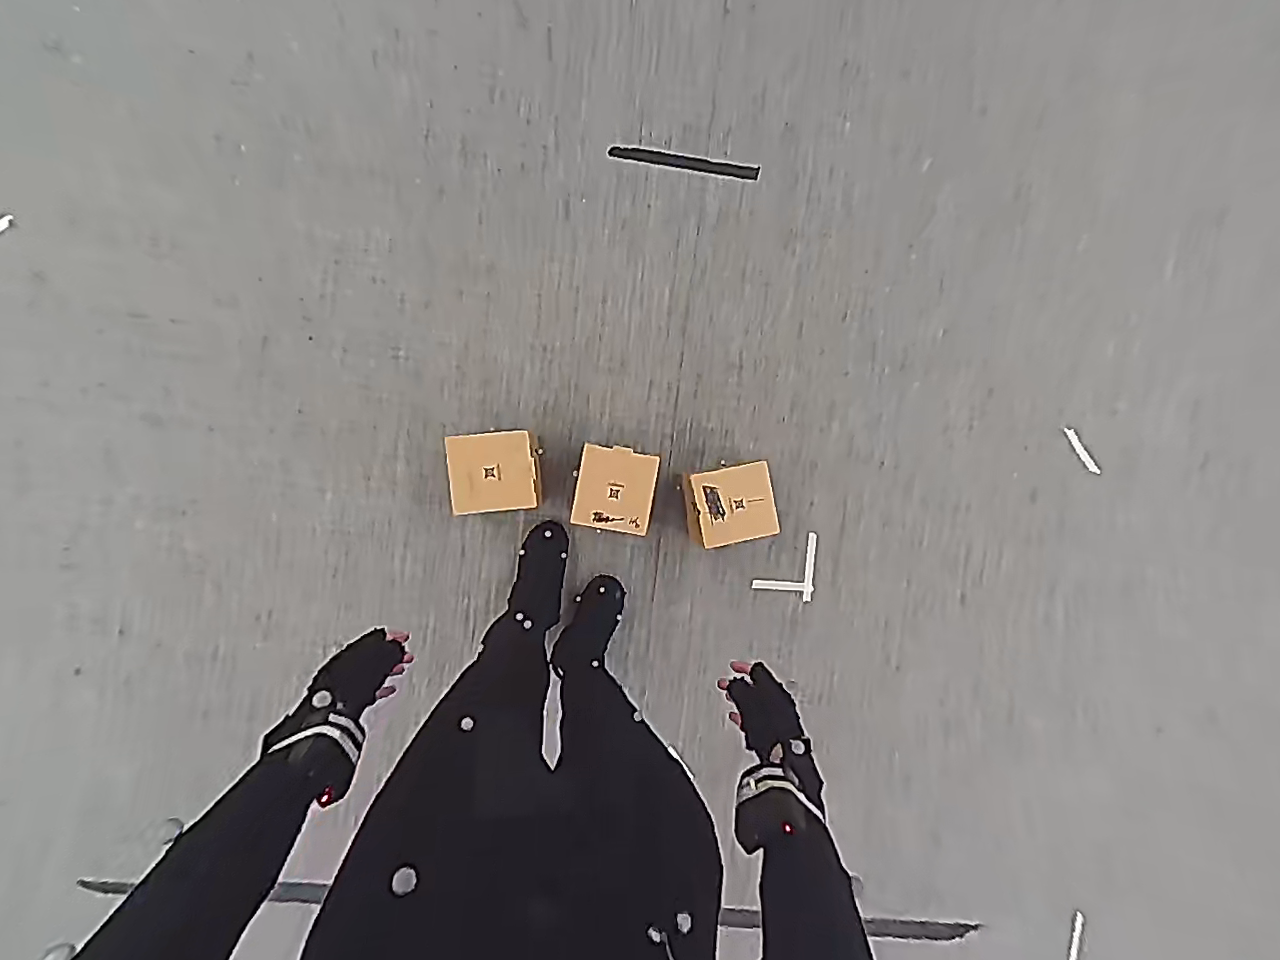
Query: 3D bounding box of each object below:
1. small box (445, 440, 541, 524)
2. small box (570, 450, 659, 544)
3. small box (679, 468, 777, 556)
[{"bbox_3d":[-0.317,0.001,1.203,0.179,0.176,0.168,-6,91,-4],"label":"small box"},{"bbox_3d":[-0.063,0.035,1.229,0.168,0.176,0.179,11,90,-6],"label":"small box"},{"bbox_3d":[0.194,0.069,1.254,0.179,0.176,0.168,-11,93,-6],"label":"small box"}]
